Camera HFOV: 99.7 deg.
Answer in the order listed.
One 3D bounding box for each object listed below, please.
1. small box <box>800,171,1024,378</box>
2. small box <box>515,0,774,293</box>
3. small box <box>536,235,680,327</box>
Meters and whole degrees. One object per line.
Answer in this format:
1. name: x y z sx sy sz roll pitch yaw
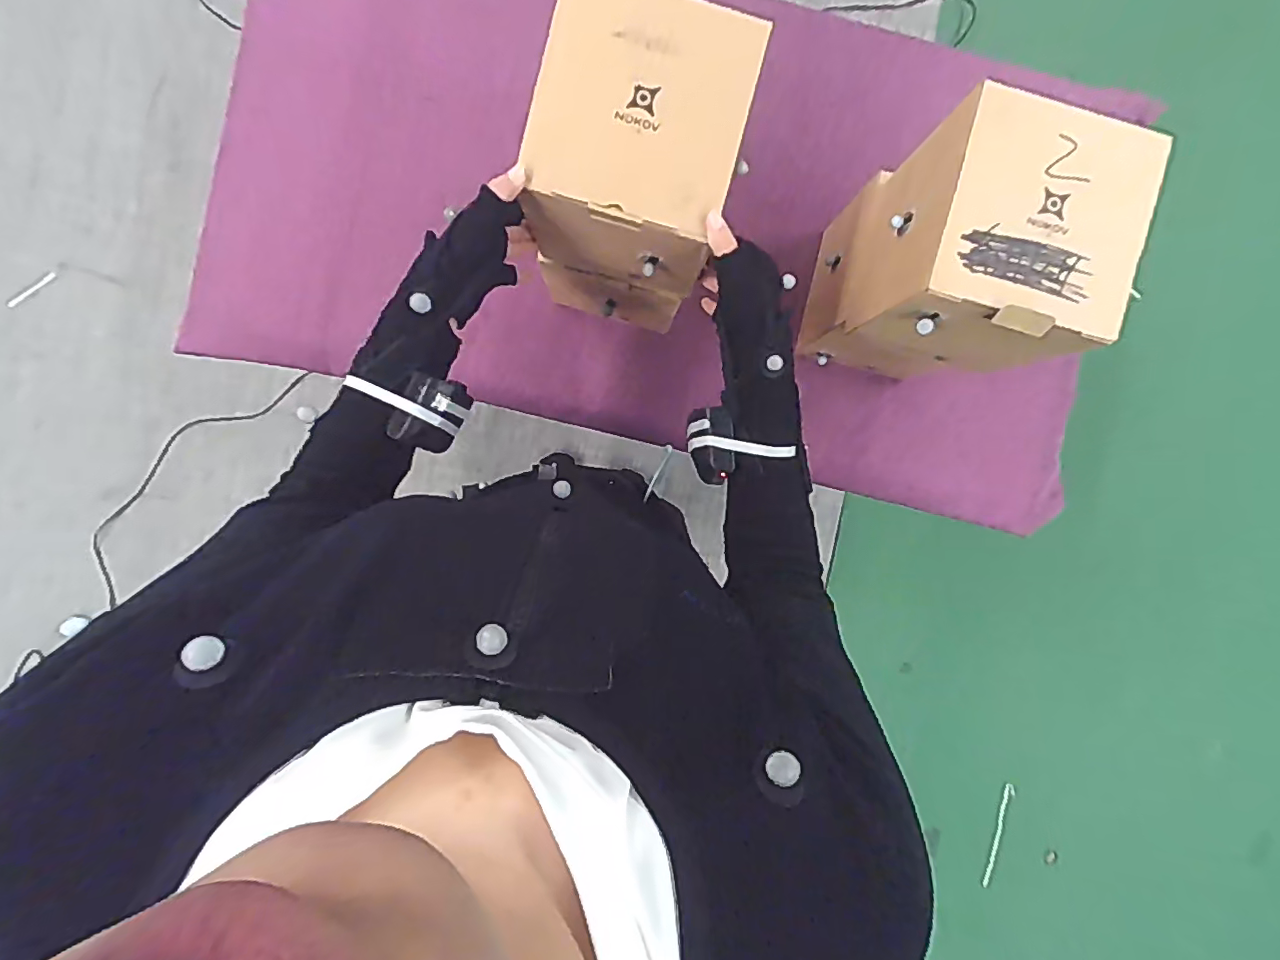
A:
1. small box: 0.319 -0.237 0.677 0.168 0.176 0.179 17 93 -5
2. small box: 0.000 -0.293 0.496 0.168 0.176 0.179 16 93 -4
3. small box: -0.015 -0.303 0.659 0.168 0.176 0.179 16 93 -4
